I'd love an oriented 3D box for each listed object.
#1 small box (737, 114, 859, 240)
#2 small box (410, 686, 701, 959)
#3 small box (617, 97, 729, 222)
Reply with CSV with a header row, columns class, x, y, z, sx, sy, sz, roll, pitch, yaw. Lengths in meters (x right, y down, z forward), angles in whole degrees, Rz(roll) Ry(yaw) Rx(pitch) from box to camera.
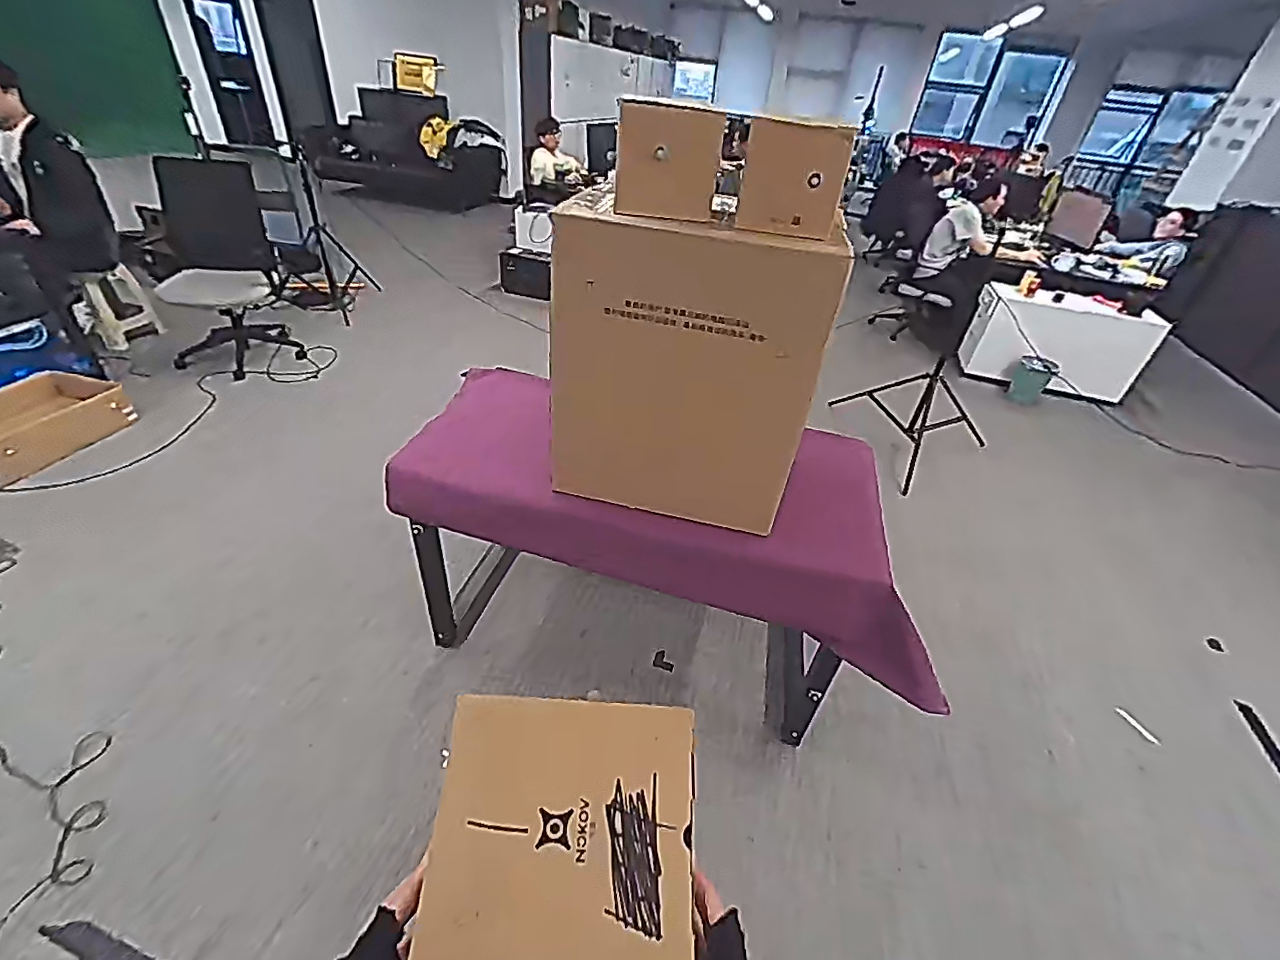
class,x,y,z,sx,sy,sz,roll,pitch,yaw
small box,0.270,-0.534,0.952,0.168,0.176,0.179,12,36,7
small box,-0.056,0.269,0.428,0.179,0.176,0.168,7,59,-5
small box,0.050,-0.573,0.970,0.179,0.176,0.168,4,38,-5
